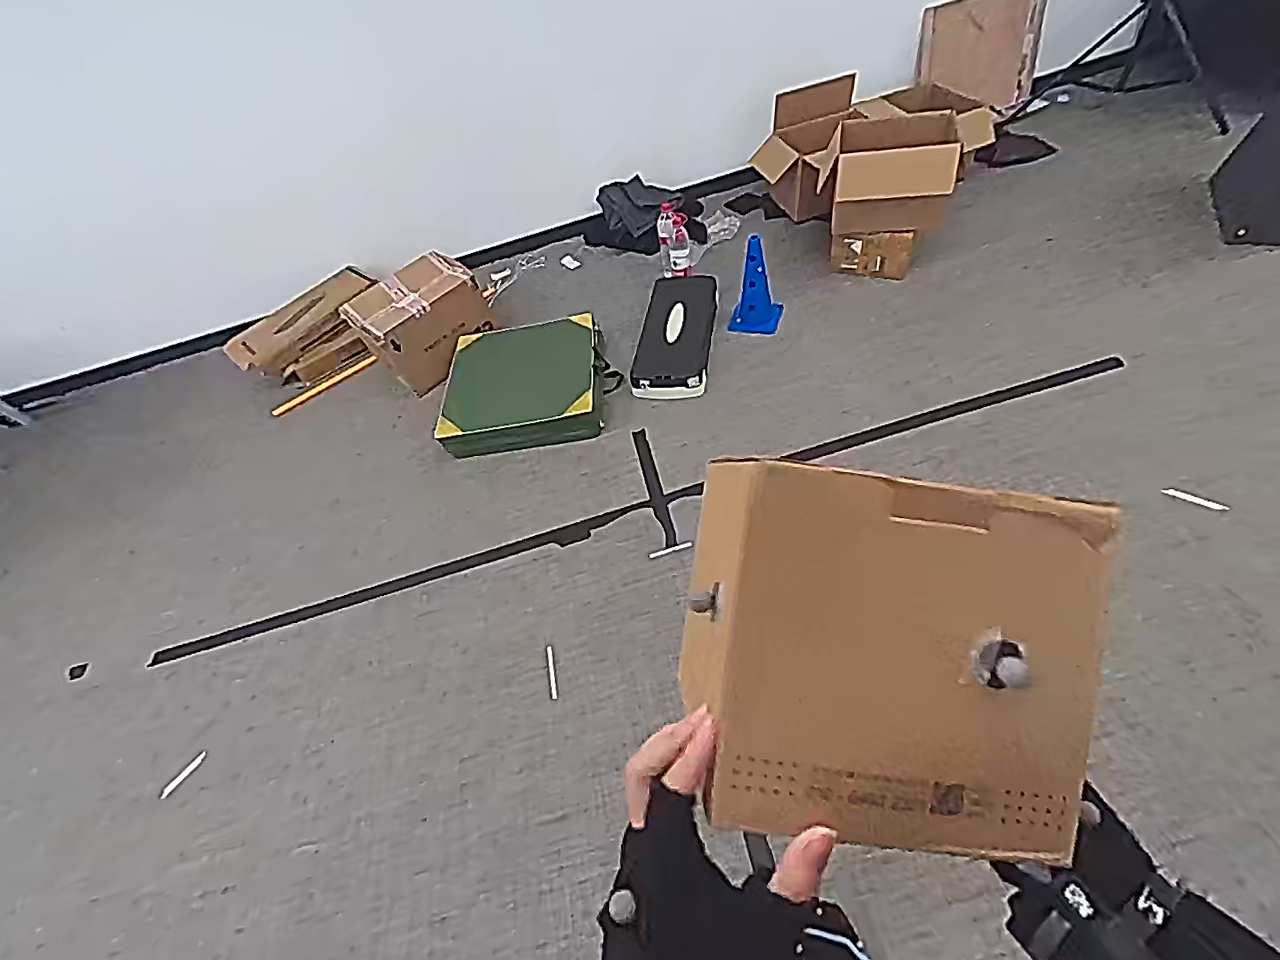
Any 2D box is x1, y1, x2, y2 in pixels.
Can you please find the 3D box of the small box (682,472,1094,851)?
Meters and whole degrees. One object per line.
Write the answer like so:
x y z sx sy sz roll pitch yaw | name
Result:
0.124 0.090 0.339 0.168 0.179 0.176 8 91 -1 | small box
